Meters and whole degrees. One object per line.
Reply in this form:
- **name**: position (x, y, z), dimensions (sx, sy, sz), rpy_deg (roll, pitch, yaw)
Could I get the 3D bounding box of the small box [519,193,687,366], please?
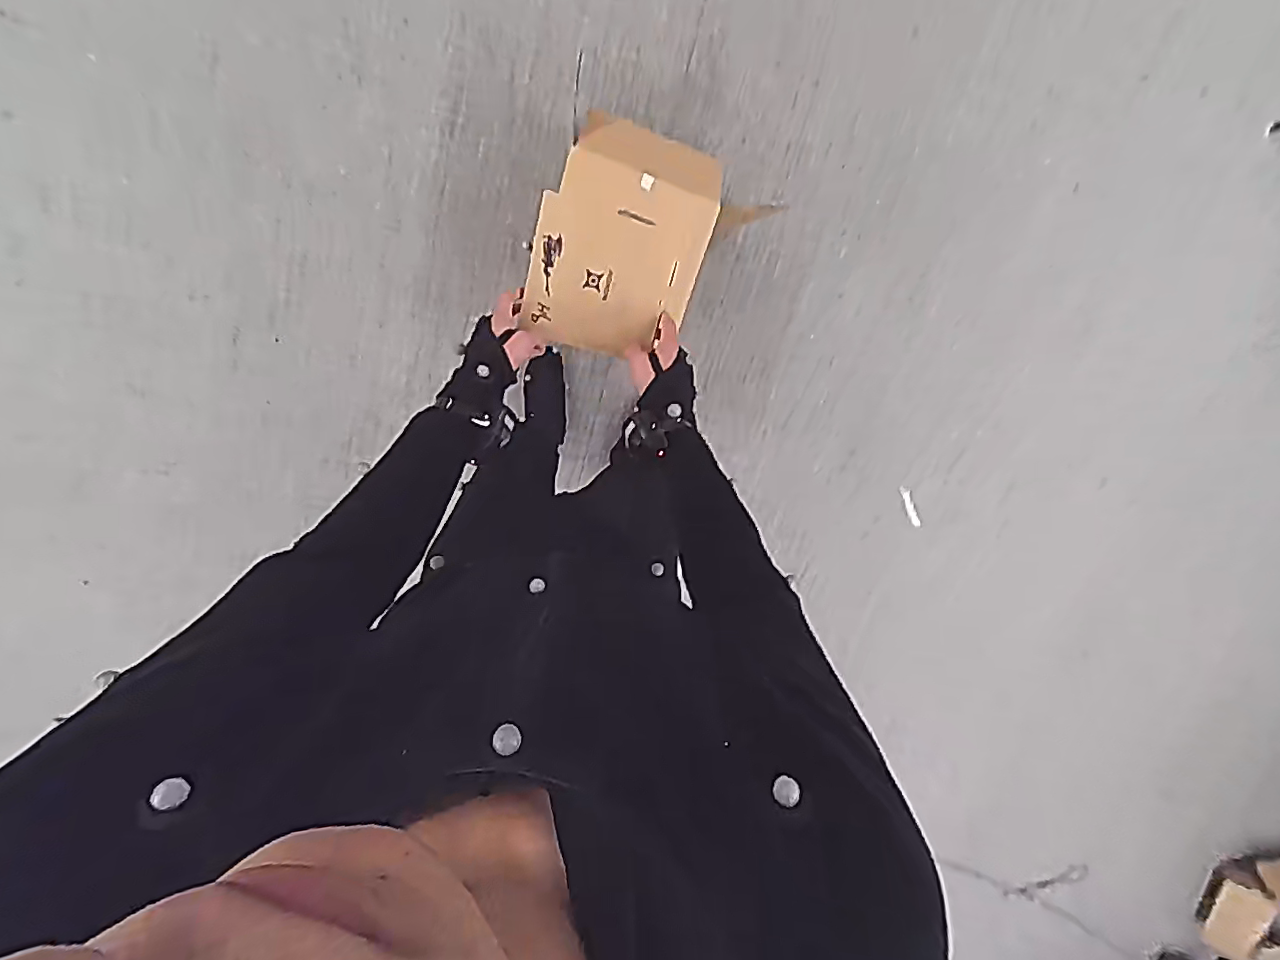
- **small box**: position (-0.059, -0.269, 0.735), dimensions (0.179, 0.176, 0.168), rpy_deg (12, 110, -14)
